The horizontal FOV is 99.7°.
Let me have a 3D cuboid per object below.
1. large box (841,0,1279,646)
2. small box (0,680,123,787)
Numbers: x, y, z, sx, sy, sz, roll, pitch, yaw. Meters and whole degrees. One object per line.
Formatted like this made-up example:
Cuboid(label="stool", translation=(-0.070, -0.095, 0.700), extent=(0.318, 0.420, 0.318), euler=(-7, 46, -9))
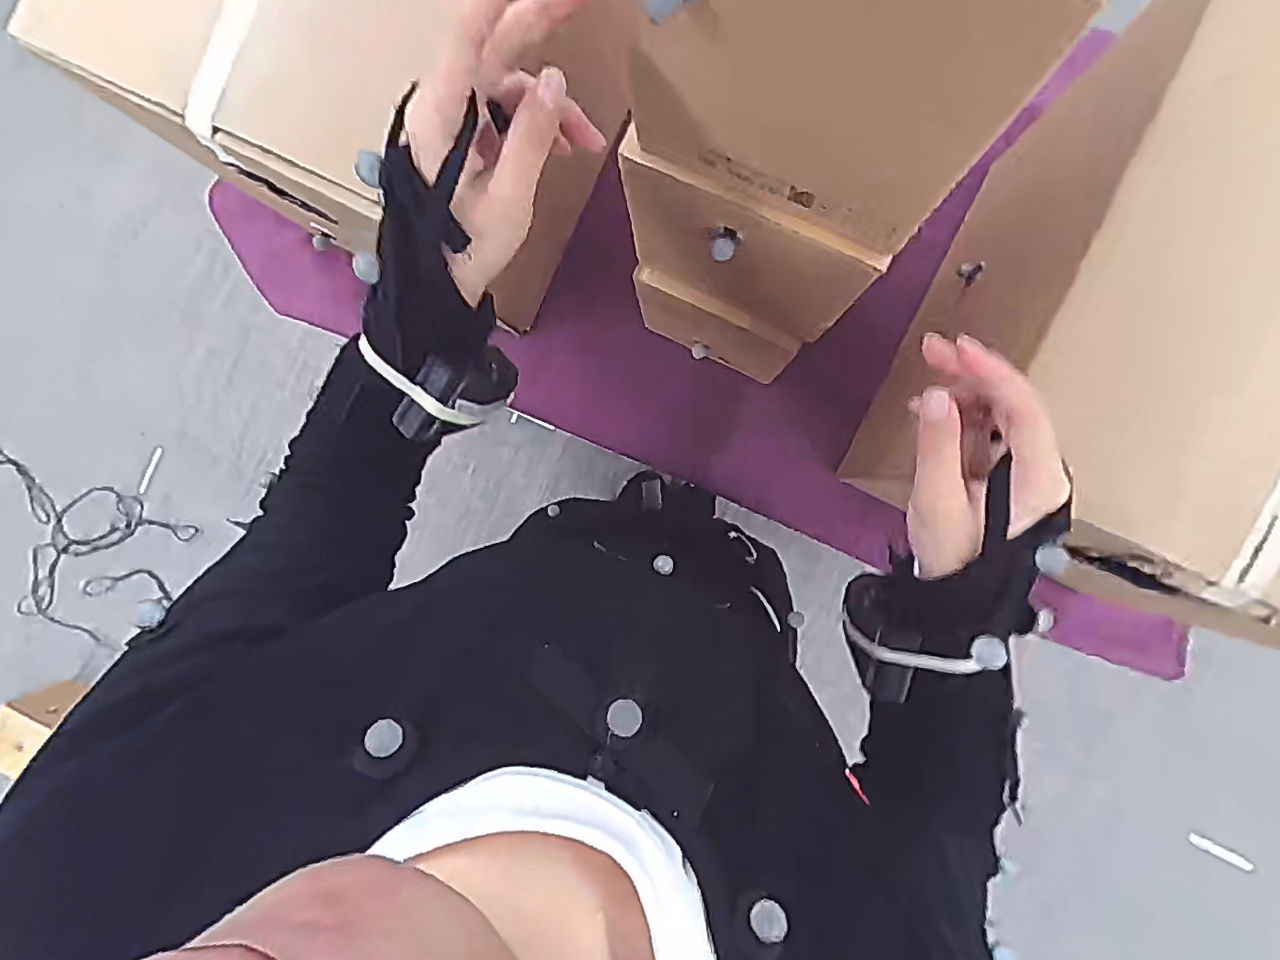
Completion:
Cuboid(label="large box", translation=(0.432, -0.113, 0.465), extent=(0.320, 0.320, 0.408), euler=(25, 91, 4))
Cuboid(label="small box", translation=(-1.557, 0.666, 1.446), extent=(0.179, 0.176, 0.168), euler=(25, 93, 5))
